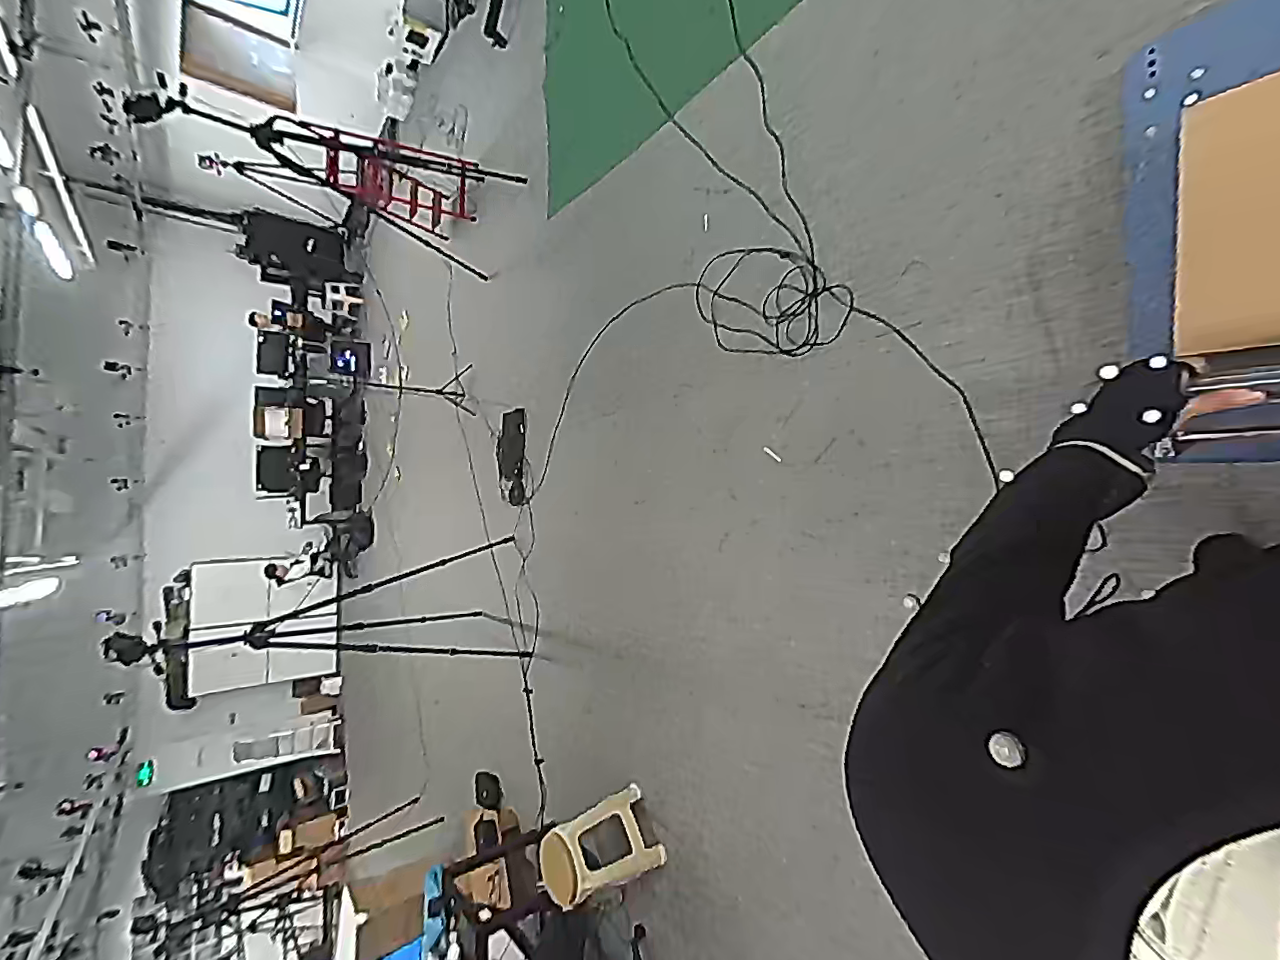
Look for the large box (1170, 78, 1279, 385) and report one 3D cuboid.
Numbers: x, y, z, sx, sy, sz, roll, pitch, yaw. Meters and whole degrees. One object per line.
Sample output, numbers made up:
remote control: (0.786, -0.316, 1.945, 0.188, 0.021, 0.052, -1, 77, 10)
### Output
large box: (1.081, -0.387, 0.852, 0.320, 0.320, 0.408, 2, 89, 51)
